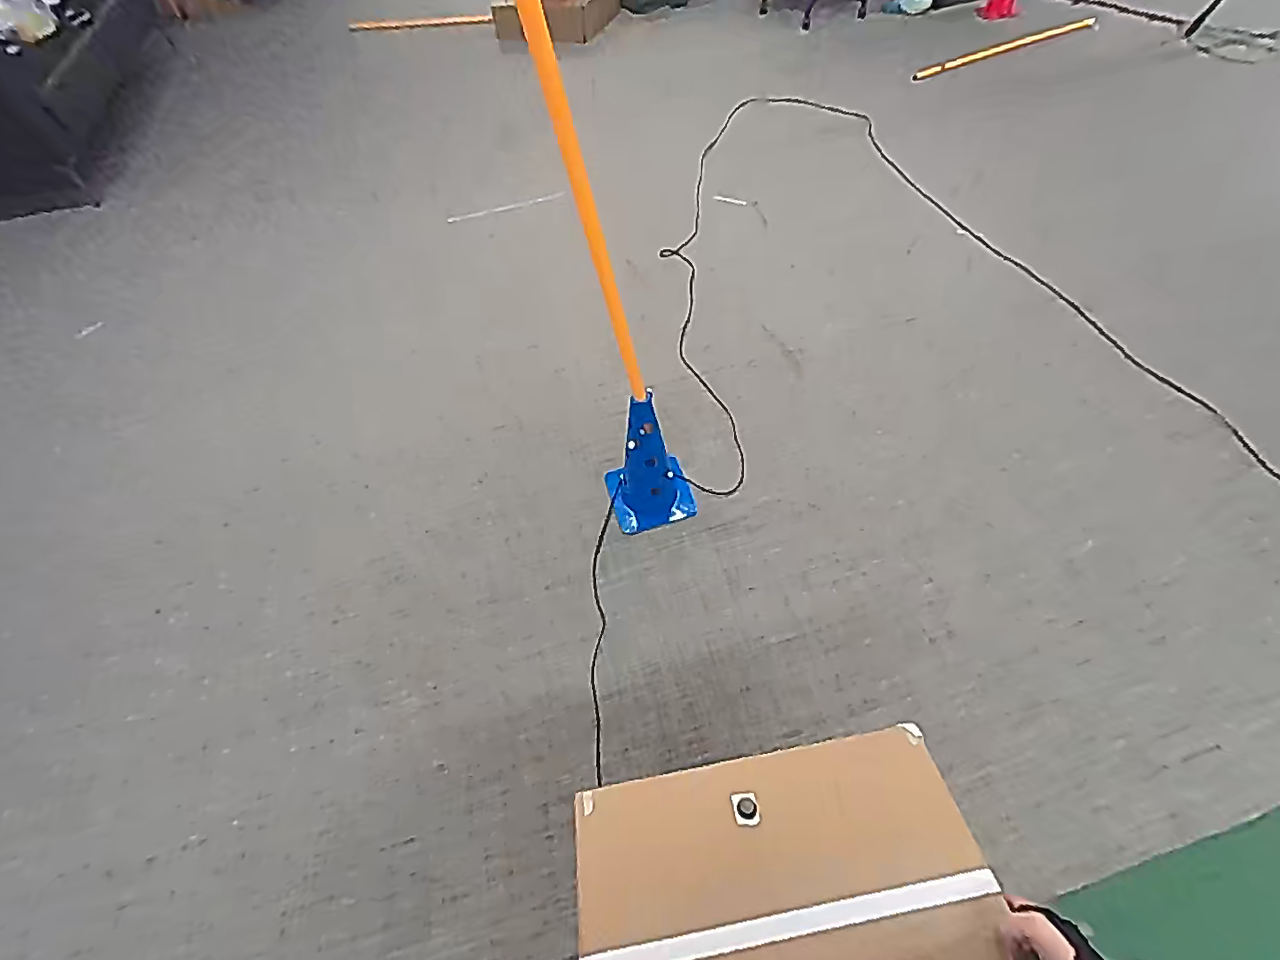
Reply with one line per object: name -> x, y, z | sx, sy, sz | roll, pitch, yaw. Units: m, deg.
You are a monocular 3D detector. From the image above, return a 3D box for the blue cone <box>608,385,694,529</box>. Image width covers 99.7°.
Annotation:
blue cone -> 0.013, -0.064, 1.229 | 0.193, 0.380, 0.192 | -19, 55, -7
